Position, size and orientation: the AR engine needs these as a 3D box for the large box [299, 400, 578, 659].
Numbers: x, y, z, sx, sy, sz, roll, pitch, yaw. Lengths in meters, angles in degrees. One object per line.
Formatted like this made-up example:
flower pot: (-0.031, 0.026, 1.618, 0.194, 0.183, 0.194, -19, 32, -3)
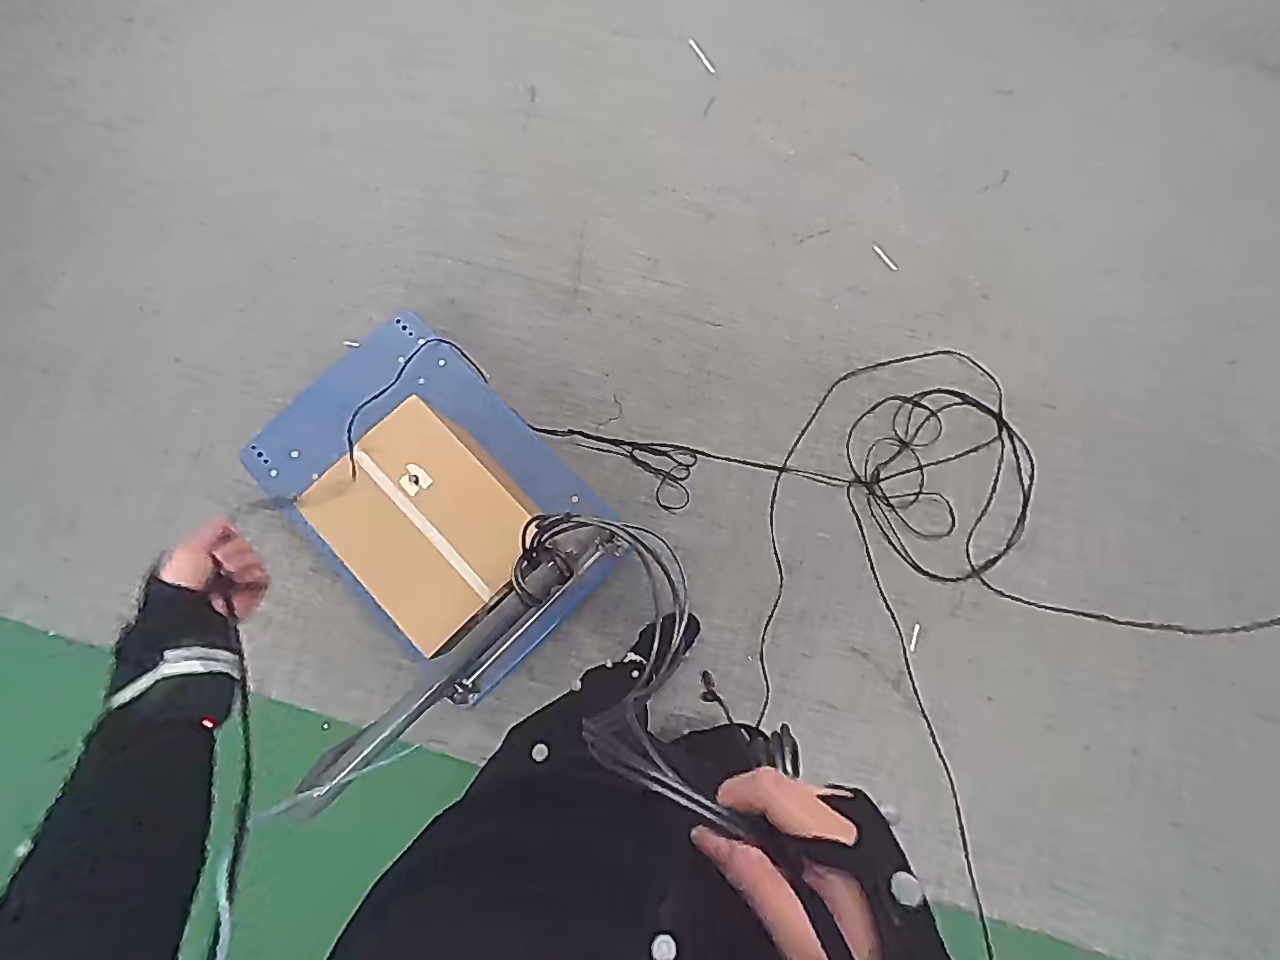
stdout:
large box: (-0.394, 0.108, 1.154, 0.320, 0.320, 0.408, -44, 82, -6)
